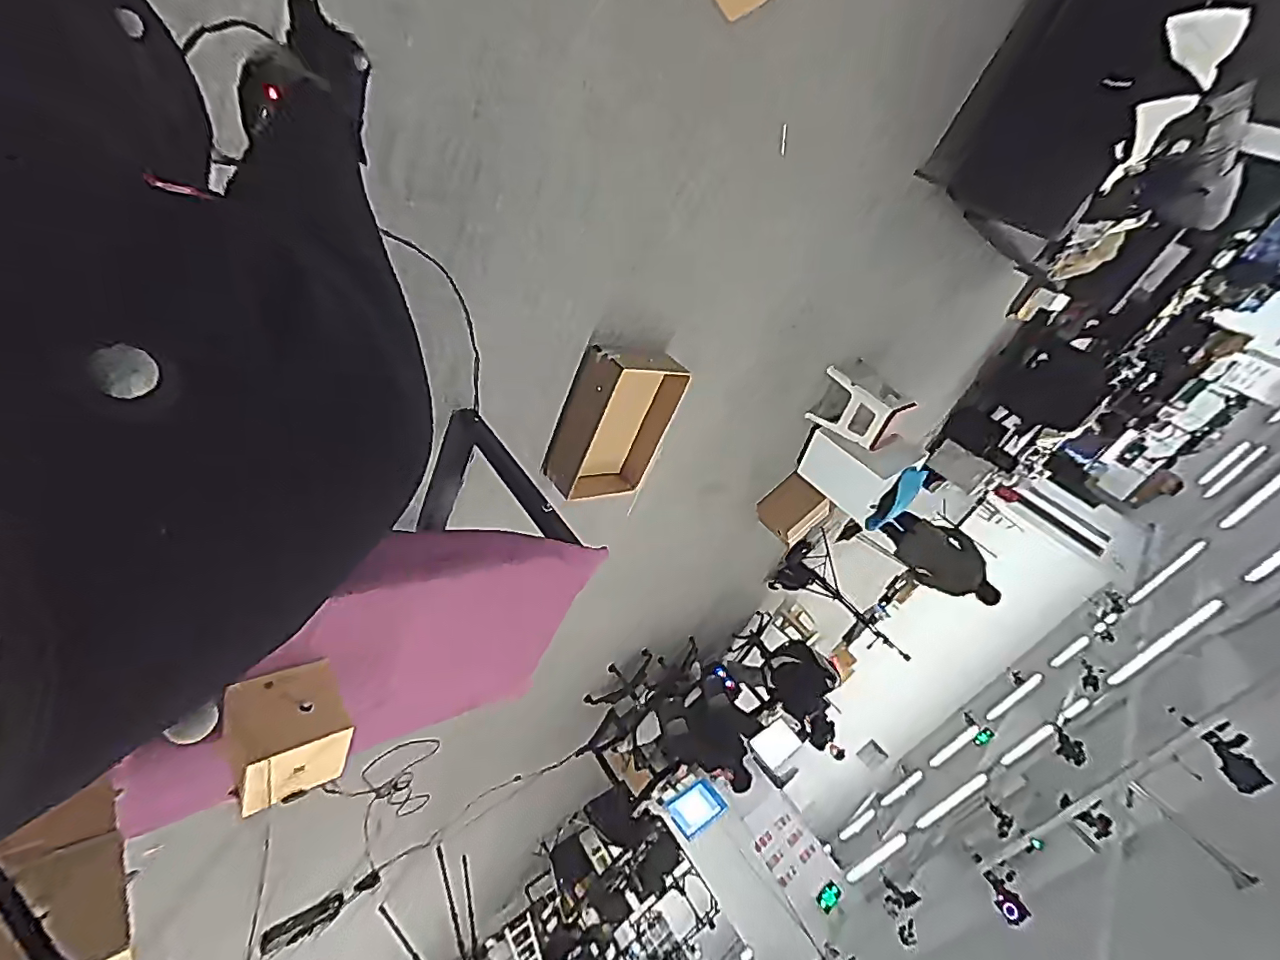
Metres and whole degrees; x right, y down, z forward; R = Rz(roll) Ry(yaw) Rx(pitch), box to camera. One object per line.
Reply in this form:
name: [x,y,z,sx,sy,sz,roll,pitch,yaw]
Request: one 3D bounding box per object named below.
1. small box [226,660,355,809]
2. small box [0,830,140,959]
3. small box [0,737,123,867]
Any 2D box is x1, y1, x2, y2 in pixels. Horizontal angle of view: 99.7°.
small box: [-0.664,0.465,1.022,0.168,0.176,0.179,-7,134,-45]
small box: [-0.796,0.617,0.728,0.168,0.176,0.179,-3,130,-46]
small box: [-0.898,0.516,0.809,0.168,0.176,0.179,-3,131,-47]
